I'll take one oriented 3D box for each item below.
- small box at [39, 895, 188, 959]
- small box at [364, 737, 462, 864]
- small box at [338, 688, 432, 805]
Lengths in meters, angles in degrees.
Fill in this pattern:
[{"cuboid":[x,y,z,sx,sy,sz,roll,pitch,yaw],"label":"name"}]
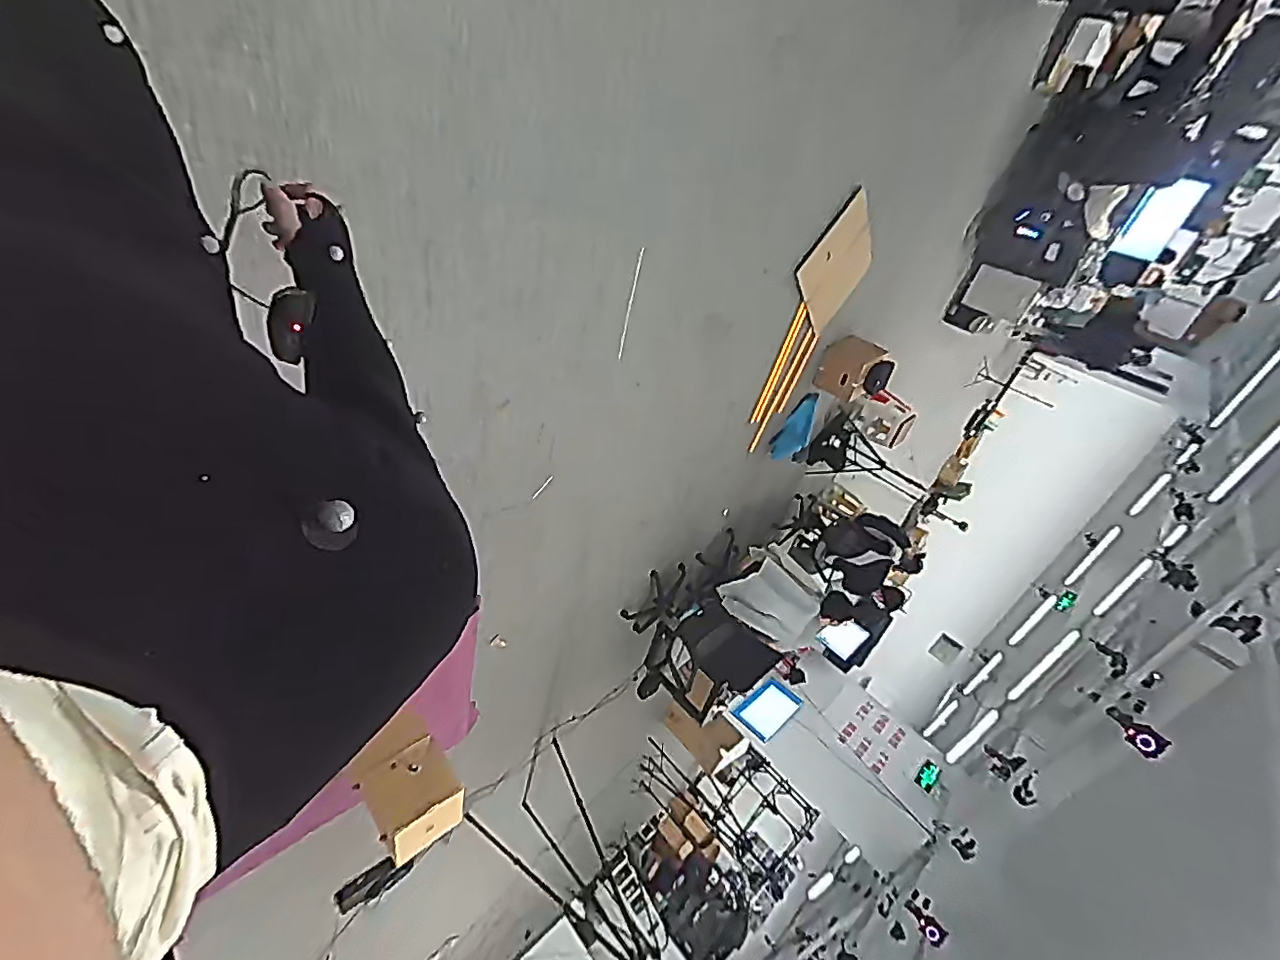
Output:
[{"cuboid":[-0.914,0.883,0.947,0.168,0.176,0.179,-20,136,-41],"label":"small box"},{"cuboid":[-0.545,0.762,1.300,0.168,0.176,0.179,-20,137,-40],"label":"small box"},{"cuboid":[-0.652,0.674,1.384,0.168,0.176,0.179,-20,137,-41],"label":"small box"}]
